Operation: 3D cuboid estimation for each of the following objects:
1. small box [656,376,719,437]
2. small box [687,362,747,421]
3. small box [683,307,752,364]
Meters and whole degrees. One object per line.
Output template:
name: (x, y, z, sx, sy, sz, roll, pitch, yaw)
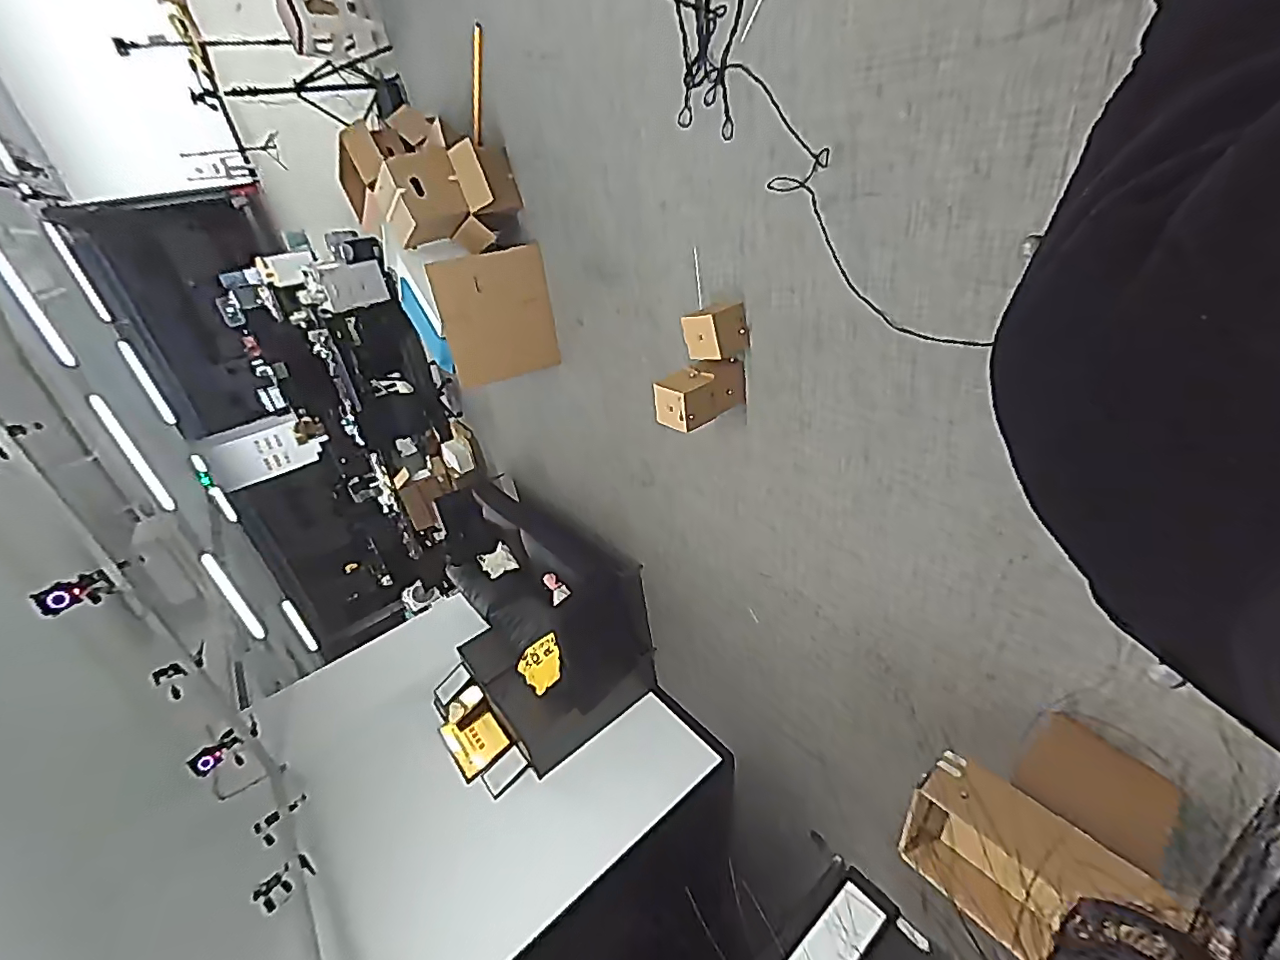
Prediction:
small box: (0.186, -0.292, 2.091, 0.179, 0.176, 0.168, 30, 138, 46)
small box: (0.312, -0.364, 2.167, 0.168, 0.176, 0.179, 28, 137, 46)
small box: (0.294, -0.546, 2.043, 0.179, 0.176, 0.168, 16, 128, 52)
